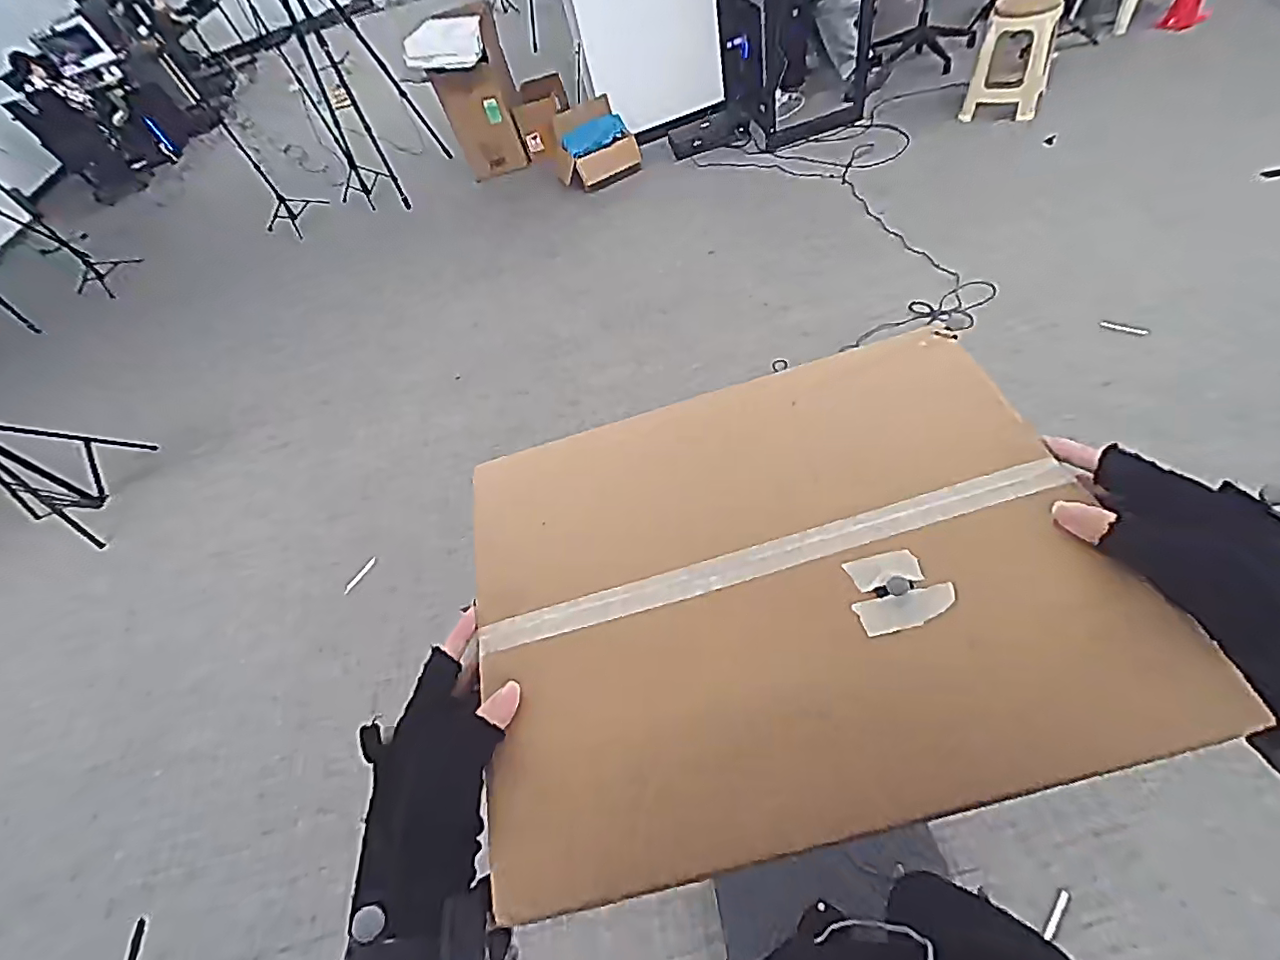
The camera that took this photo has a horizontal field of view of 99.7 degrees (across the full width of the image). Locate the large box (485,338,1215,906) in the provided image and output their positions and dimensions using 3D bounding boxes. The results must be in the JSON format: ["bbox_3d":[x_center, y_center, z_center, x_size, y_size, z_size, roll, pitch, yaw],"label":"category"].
[{"bbox_3d":[0.115,0.138,0.499,0.408,0.320,0.320,-17,56,2],"label":"large box"}]
